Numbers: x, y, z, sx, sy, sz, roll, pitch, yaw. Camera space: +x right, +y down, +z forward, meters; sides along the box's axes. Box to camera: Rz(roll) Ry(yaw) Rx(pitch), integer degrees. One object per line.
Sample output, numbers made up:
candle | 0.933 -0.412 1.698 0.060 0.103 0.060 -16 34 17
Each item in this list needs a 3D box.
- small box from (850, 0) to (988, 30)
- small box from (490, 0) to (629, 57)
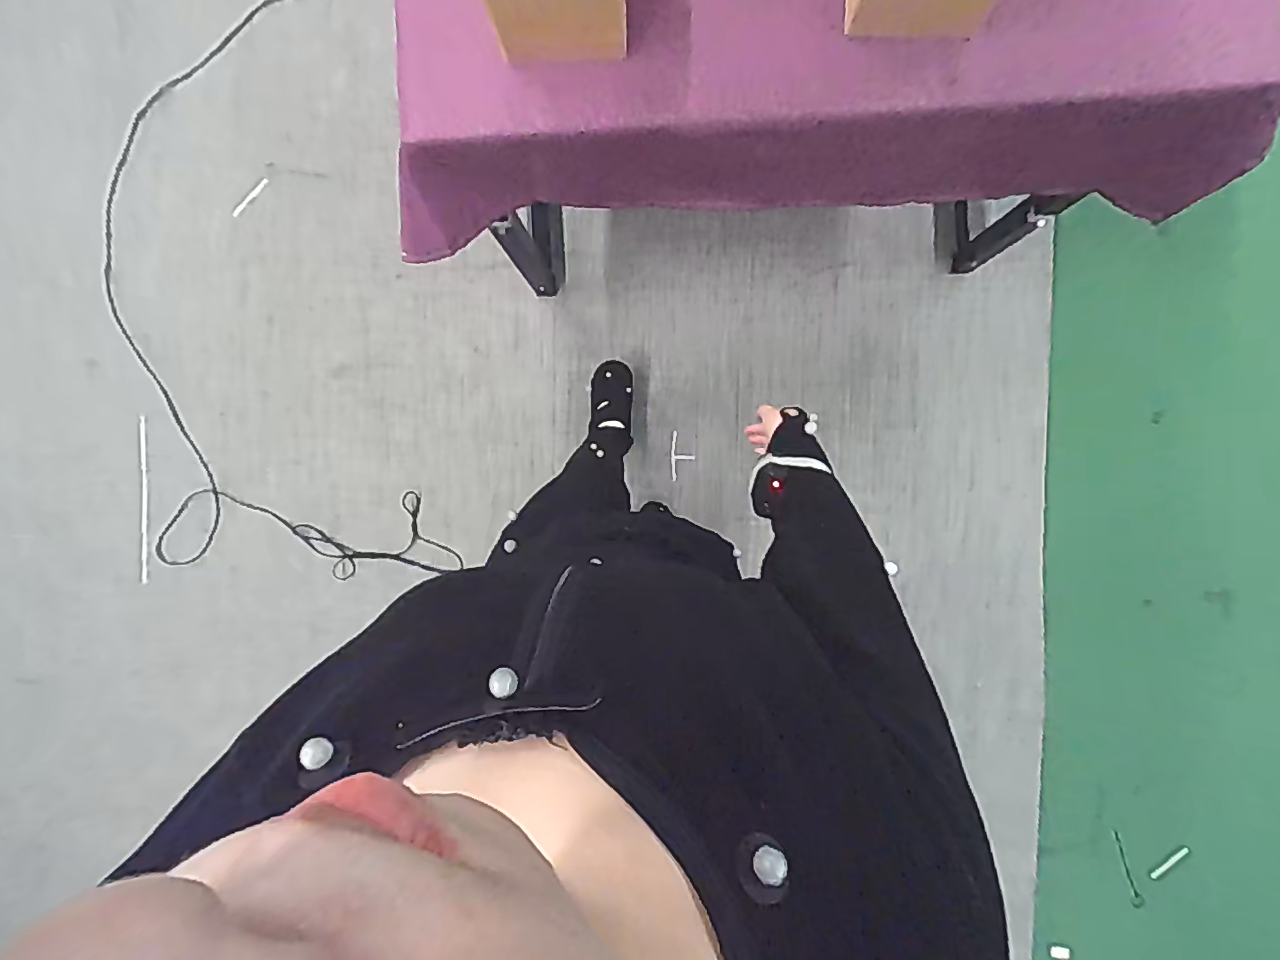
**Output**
small box | 0.369 -0.694 0.656 0.179 0.176 0.168 4 91 4
small box | -0.107 -0.680 0.687 0.179 0.176 0.168 0 90 3
